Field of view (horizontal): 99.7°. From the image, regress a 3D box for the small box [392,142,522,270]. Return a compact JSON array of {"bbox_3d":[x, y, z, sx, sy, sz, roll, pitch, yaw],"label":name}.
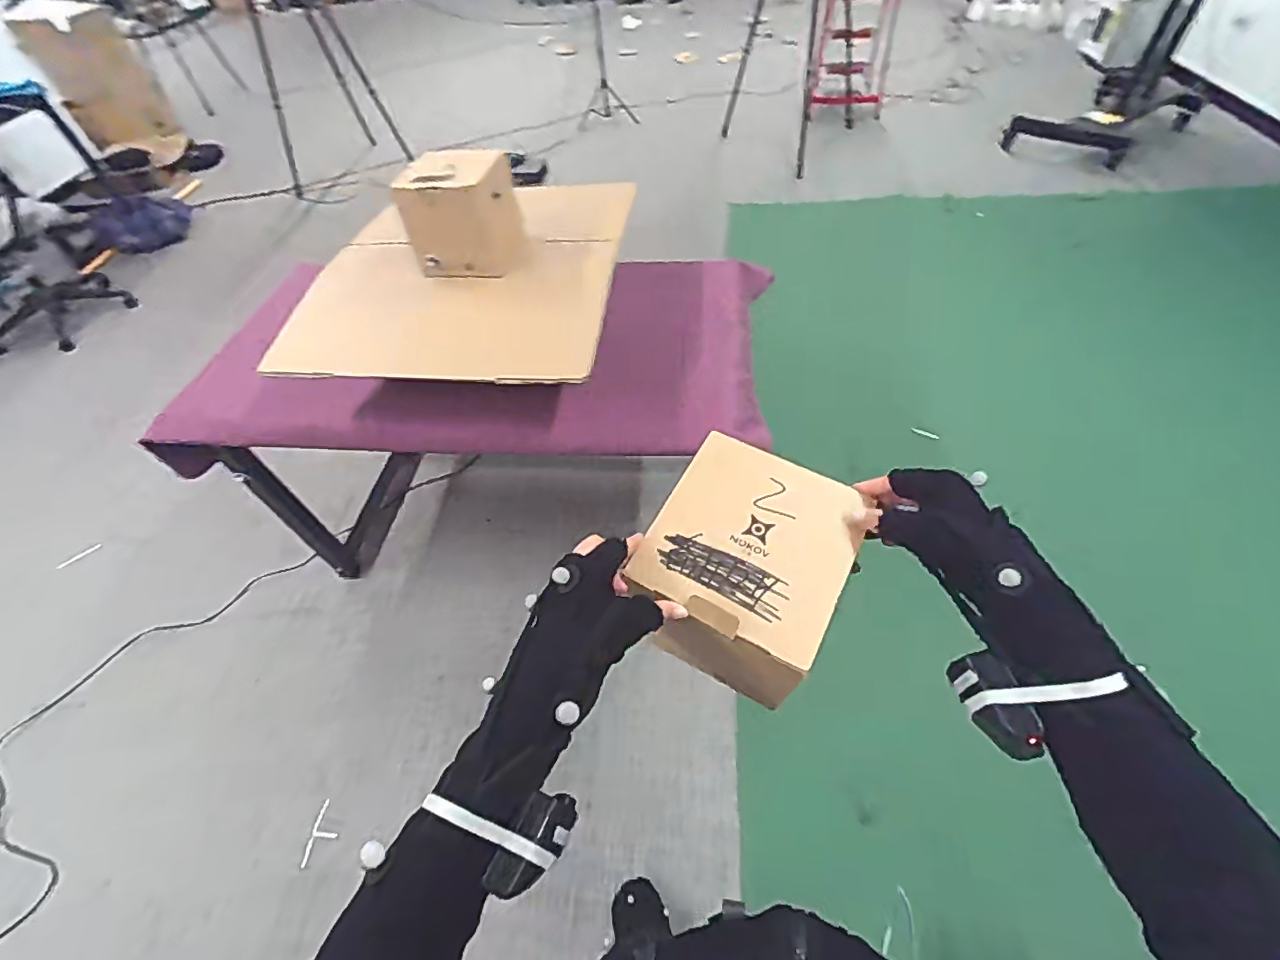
[{"bbox_3d":[-0.339,-0.522,1.043,0.168,0.176,0.179,1,52,6],"label":"small box"}]
